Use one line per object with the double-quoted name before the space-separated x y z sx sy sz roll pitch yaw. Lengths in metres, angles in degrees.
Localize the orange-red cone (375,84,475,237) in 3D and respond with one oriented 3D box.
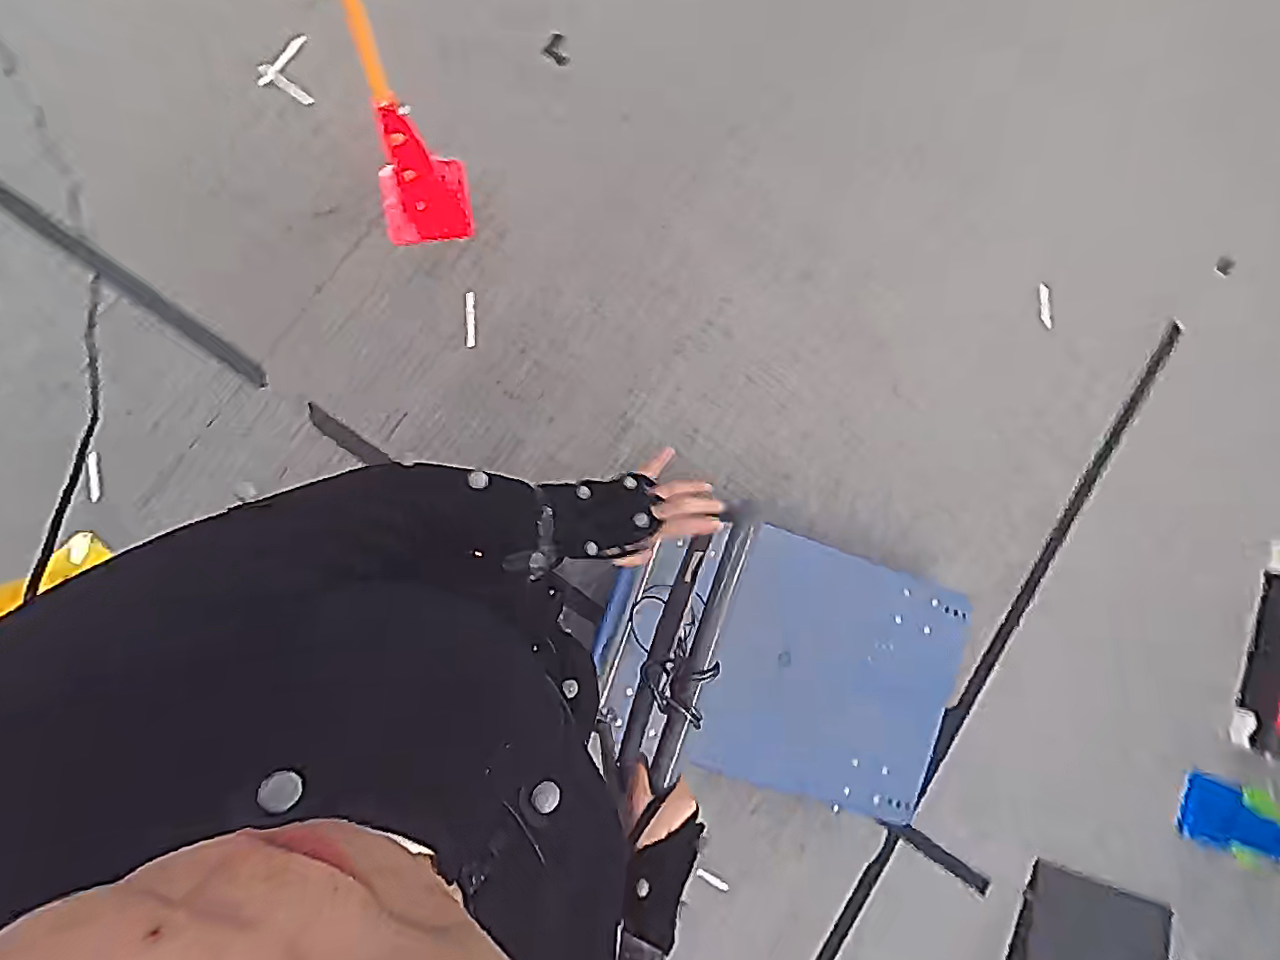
"orange-red cone" -0.491 -0.702 1.161 0.198 0.360 0.199 -9 91 -8
